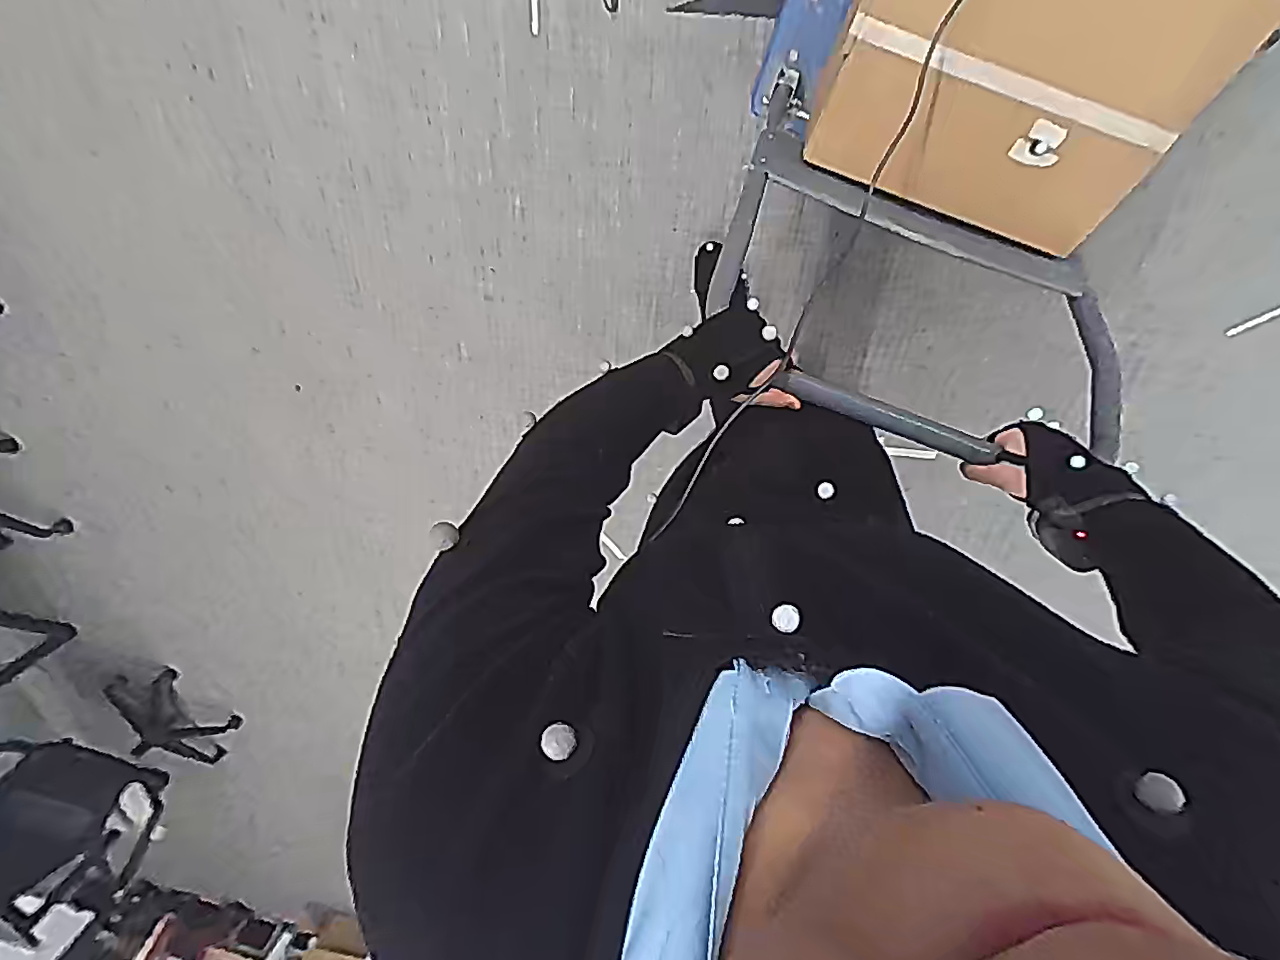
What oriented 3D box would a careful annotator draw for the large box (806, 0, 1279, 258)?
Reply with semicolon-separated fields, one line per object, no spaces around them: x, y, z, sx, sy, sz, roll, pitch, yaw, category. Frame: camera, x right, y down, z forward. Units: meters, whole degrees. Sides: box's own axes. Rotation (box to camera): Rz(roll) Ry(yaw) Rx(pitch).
0.484;-0.577;0.742;0.408;0.320;0.320;19;141;-2;large box
